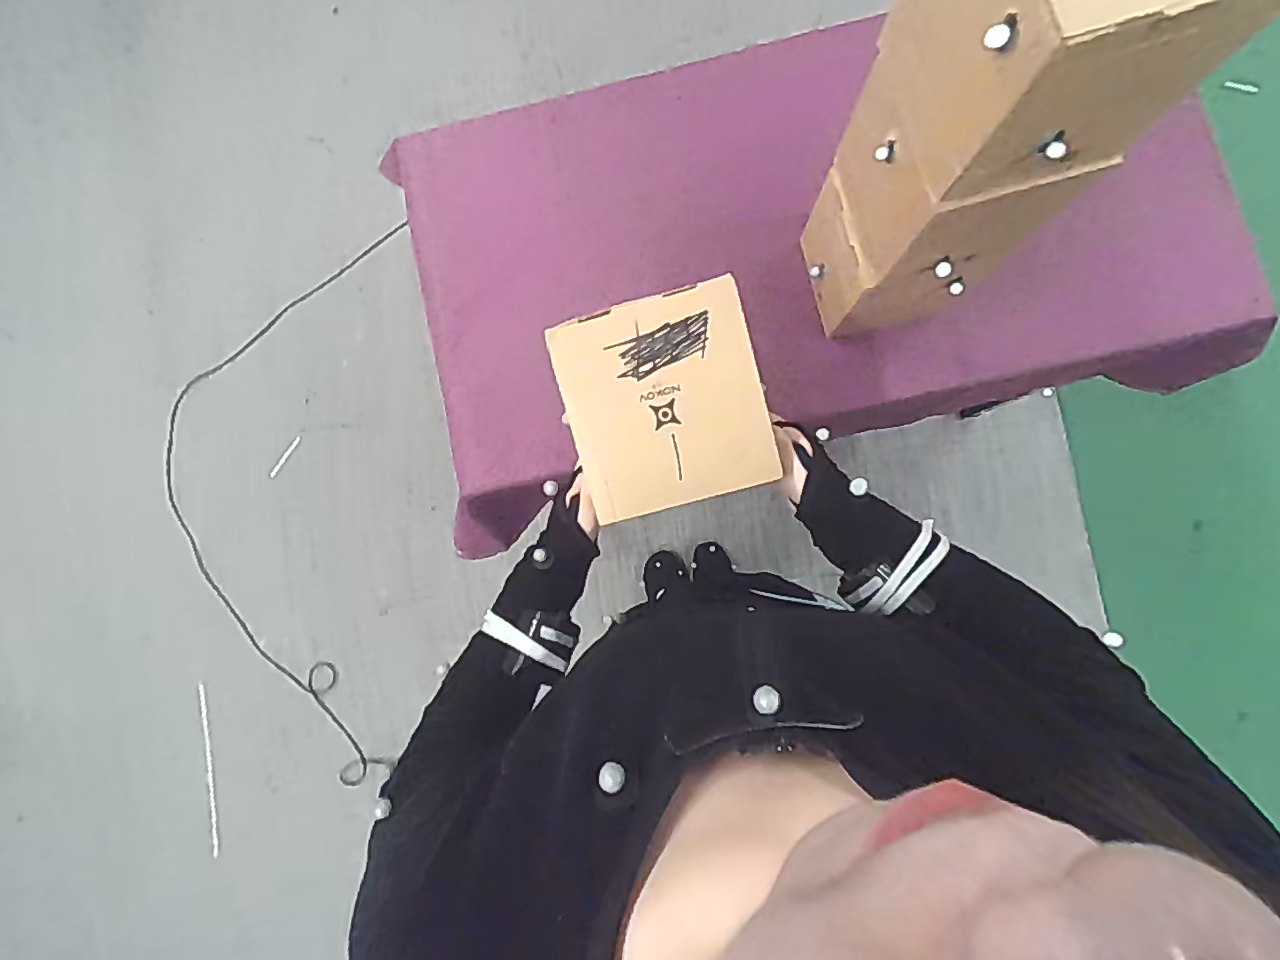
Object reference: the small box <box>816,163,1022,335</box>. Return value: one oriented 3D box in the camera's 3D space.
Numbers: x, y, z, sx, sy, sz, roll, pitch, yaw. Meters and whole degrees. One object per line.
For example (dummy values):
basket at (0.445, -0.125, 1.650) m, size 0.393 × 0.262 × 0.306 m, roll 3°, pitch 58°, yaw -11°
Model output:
small box at (0.357, -0.313, 0.726) m, size 0.179 × 0.176 × 0.168 m, roll -11°, pitch 84°, yaw 3°
